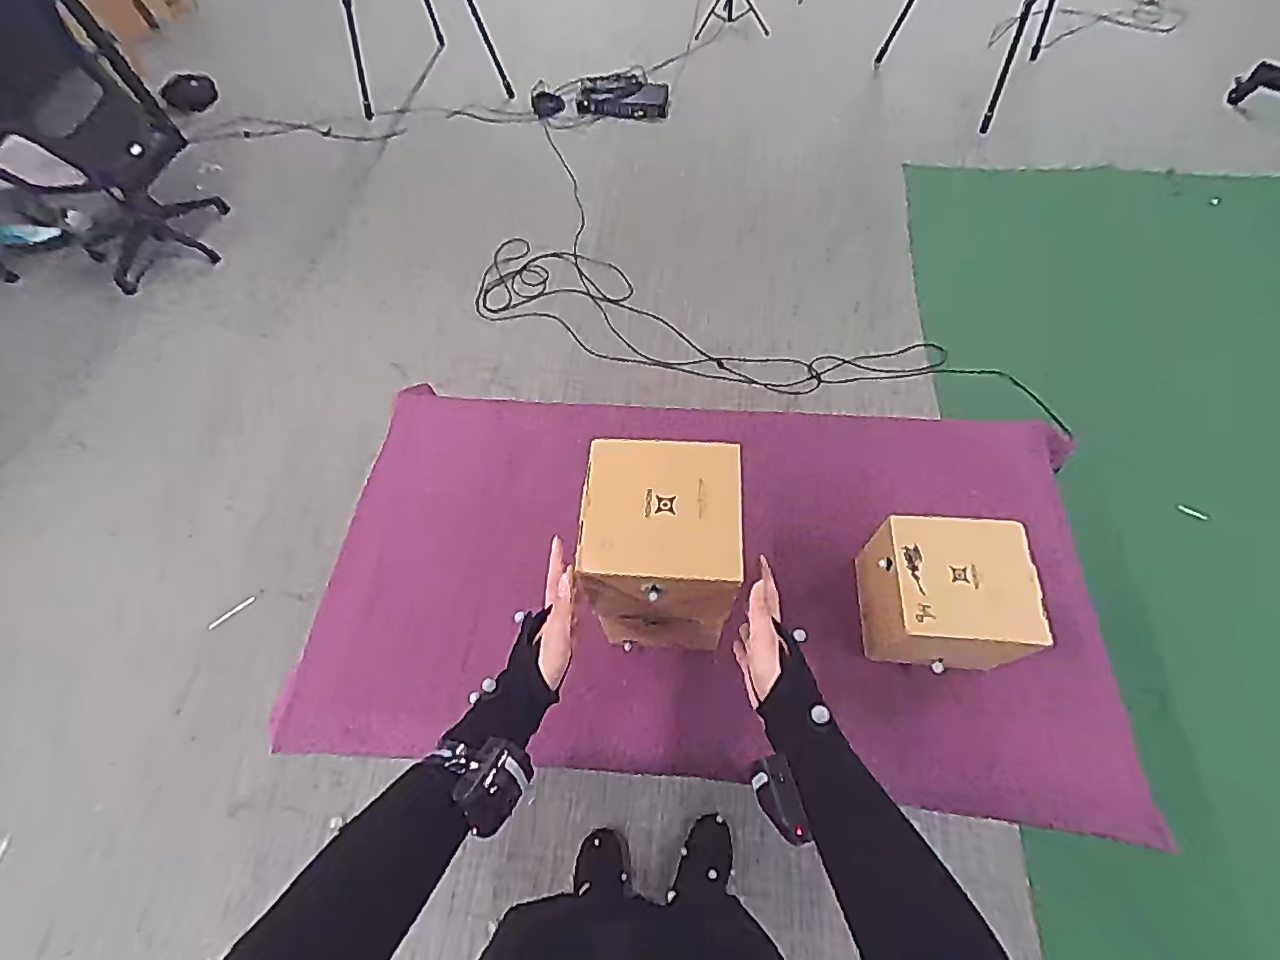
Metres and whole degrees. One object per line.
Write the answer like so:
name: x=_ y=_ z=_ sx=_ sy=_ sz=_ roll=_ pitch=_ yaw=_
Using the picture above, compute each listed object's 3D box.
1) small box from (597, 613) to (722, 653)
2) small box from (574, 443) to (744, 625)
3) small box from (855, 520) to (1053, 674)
small box: x=0.036 y=0.148 z=0.798 sx=0.168 sy=0.176 sz=0.179 roll=3 pitch=60 yaw=4
small box: x=0.028 y=0.071 z=0.655 sx=0.179 sy=0.176 sz=0.168 roll=3 pitch=62 yaw=4
small box: x=0.425 y=0.172 z=0.765 sx=0.179 sy=0.176 sz=0.168 roll=4 pitch=61 yaw=5
